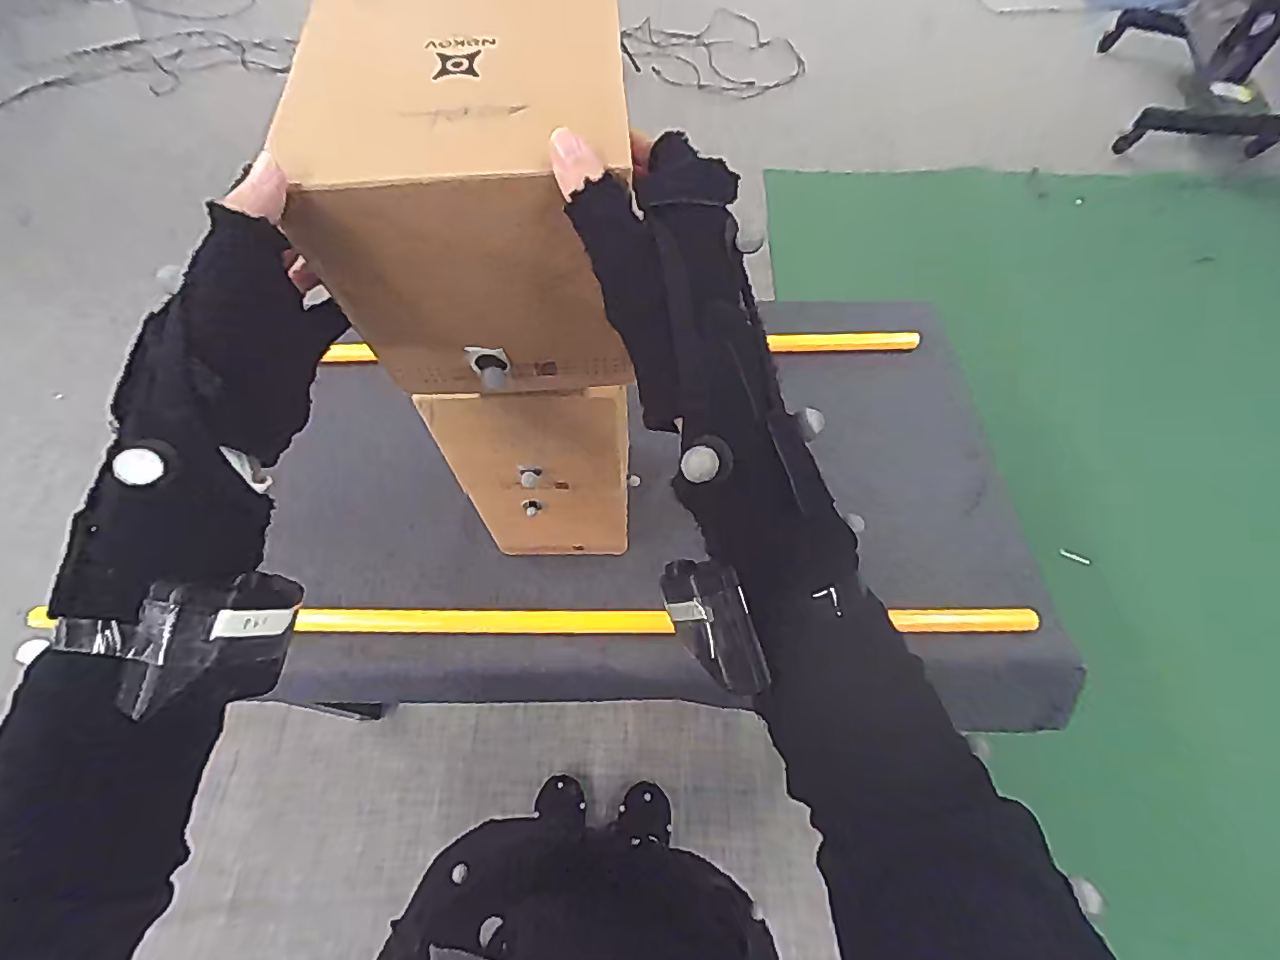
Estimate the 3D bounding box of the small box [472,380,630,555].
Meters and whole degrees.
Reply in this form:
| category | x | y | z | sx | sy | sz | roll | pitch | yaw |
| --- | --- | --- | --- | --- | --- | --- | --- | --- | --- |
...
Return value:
| category | x | y | z | sx | sy | sz | roll | pitch | yaw |
| --- | --- | --- | --- | --- | --- | --- | --- | --- | --- |
| small box | -0.100 | -0.018 | 0.692 | 0.168 | 0.176 | 0.179 | -1 | 60 | 1 |

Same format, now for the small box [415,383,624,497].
| category | x | y | z | sx | sy | sz | roll | pitch | yaw |
| --- | --- | --- | --- | --- | --- | --- | --- | --- | --- |
| small box | -0.102 | -0.099 | 0.548 | 0.168 | 0.176 | 0.179 | -1 | 61 | 0 |

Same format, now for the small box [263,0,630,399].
| category | x | y | z | sx | sy | sz | roll | pitch | yaw |
| --- | --- | --- | --- | --- | --- | --- | --- | --- | --- |
| small box | -0.093 | -0.174 | 0.353 | 0.168 | 0.176 | 0.179 | -4 | 65 | -1 |
